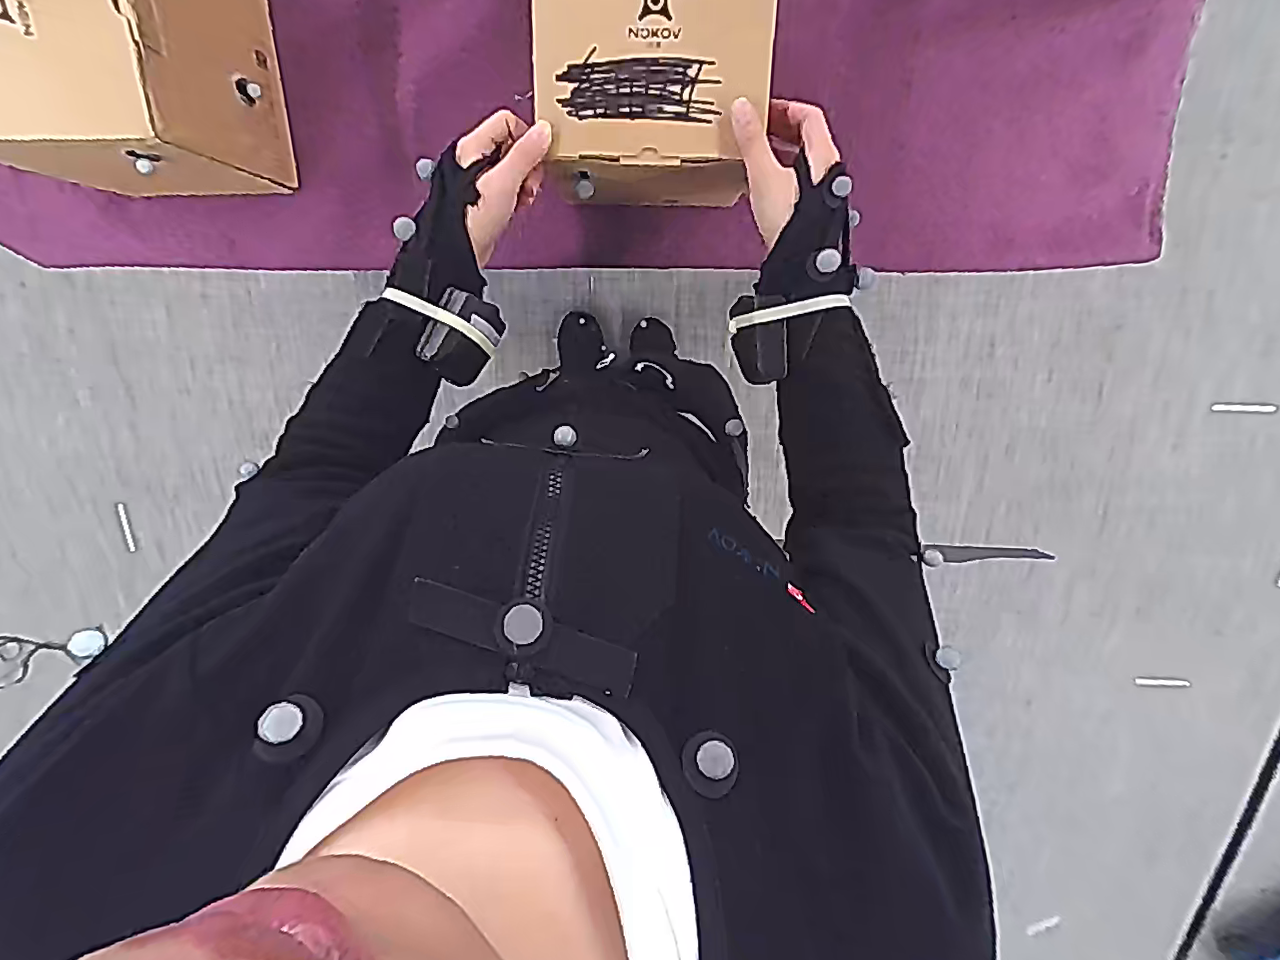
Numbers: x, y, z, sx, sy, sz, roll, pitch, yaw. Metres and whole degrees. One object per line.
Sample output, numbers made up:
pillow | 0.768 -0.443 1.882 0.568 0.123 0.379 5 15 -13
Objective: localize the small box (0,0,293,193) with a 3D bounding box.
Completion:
small box | -0.434 -0.345 0.445 0.179 0.176 0.168 -2 106 0
